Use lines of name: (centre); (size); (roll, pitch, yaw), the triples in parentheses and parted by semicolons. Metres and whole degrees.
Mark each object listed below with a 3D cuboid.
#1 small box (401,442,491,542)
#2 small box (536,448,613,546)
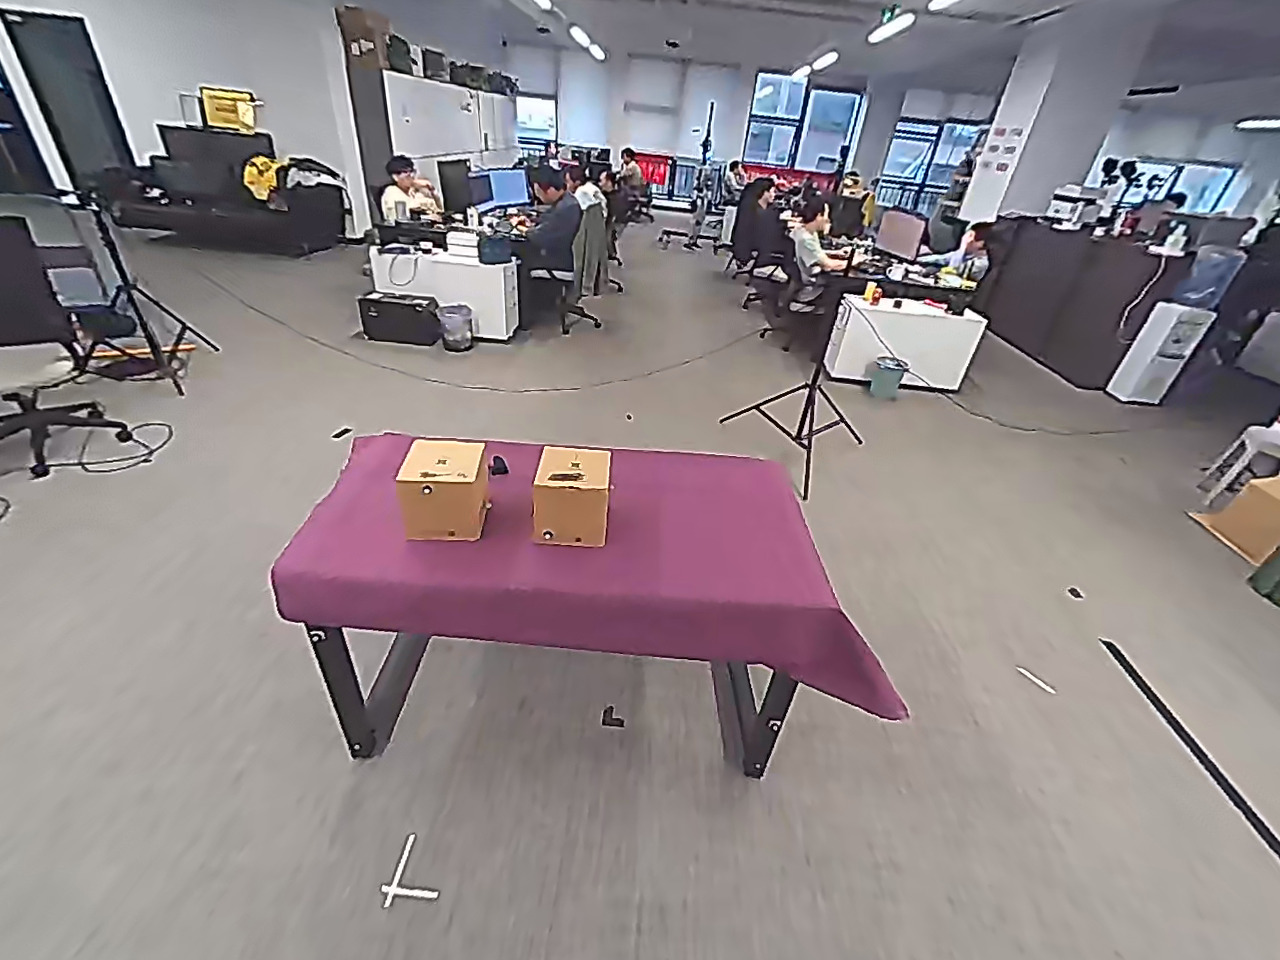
small box: (-0.448, 0.026, 1.278); (0.168, 0.176, 0.179); (1, 32, -7)
small box: (-0.154, 0.042, 1.304); (0.168, 0.176, 0.179); (5, 32, -3)
